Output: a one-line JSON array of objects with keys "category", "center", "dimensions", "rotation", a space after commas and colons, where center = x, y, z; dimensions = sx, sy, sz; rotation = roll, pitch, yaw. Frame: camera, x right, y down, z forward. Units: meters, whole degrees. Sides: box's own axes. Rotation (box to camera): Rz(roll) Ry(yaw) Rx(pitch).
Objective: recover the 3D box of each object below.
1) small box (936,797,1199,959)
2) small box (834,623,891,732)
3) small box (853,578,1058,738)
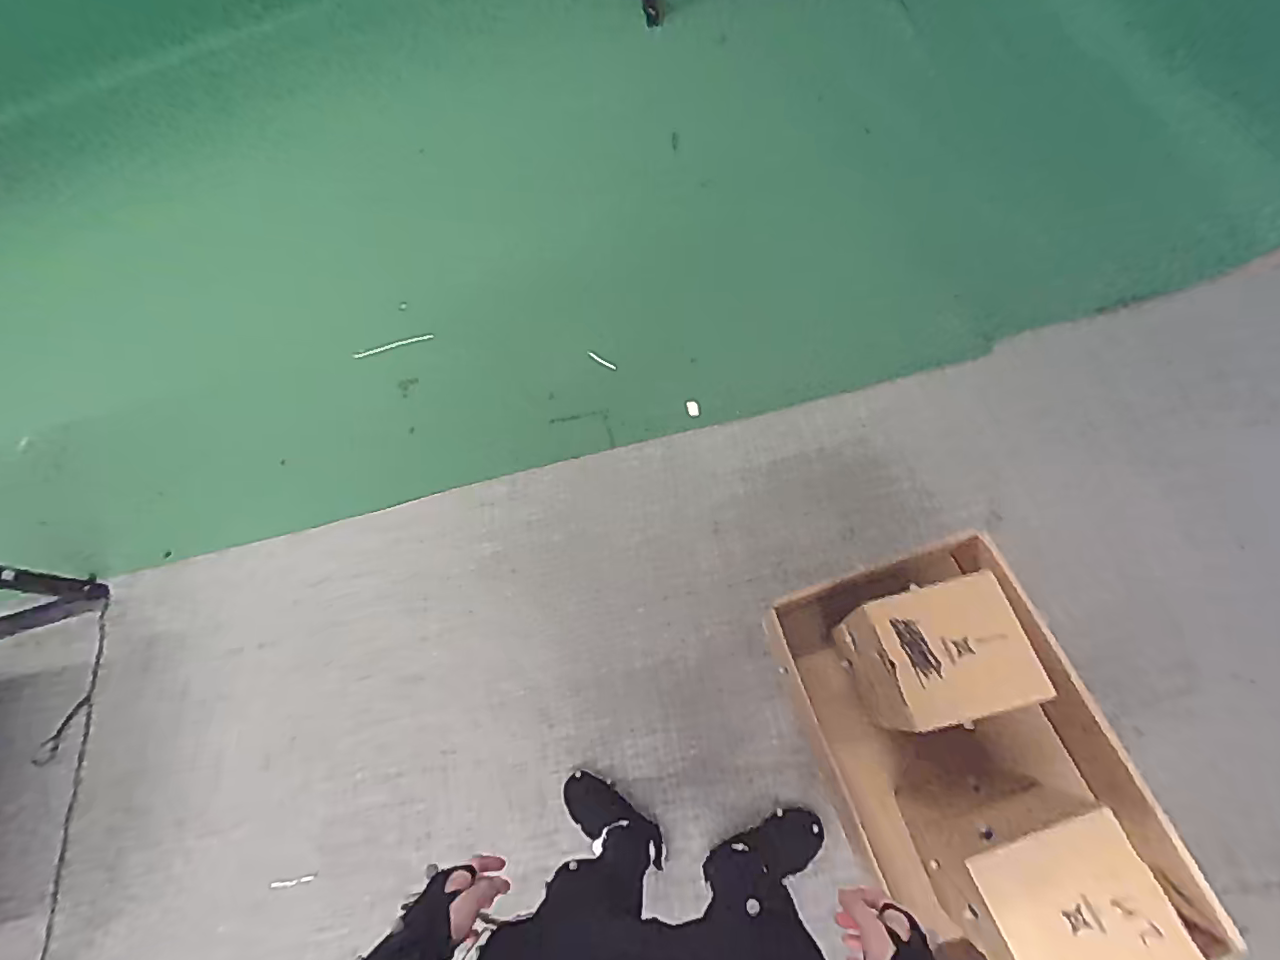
[{"category": "small box", "center": [0.482, 0.503, 0.640], "dimensions": [0.179, 0.176, 0.168], "rotation": [-22, 67, 1]}, {"category": "small box", "center": [0.442, 0.313, 0.906], "dimensions": [0.179, 0.176, 0.168], "rotation": [-19, 65, 1]}, {"category": "small box", "center": [0.416, 0.253, 0.757], "dimensions": [0.179, 0.176, 0.168], "rotation": [-15, 66, 3]}]
